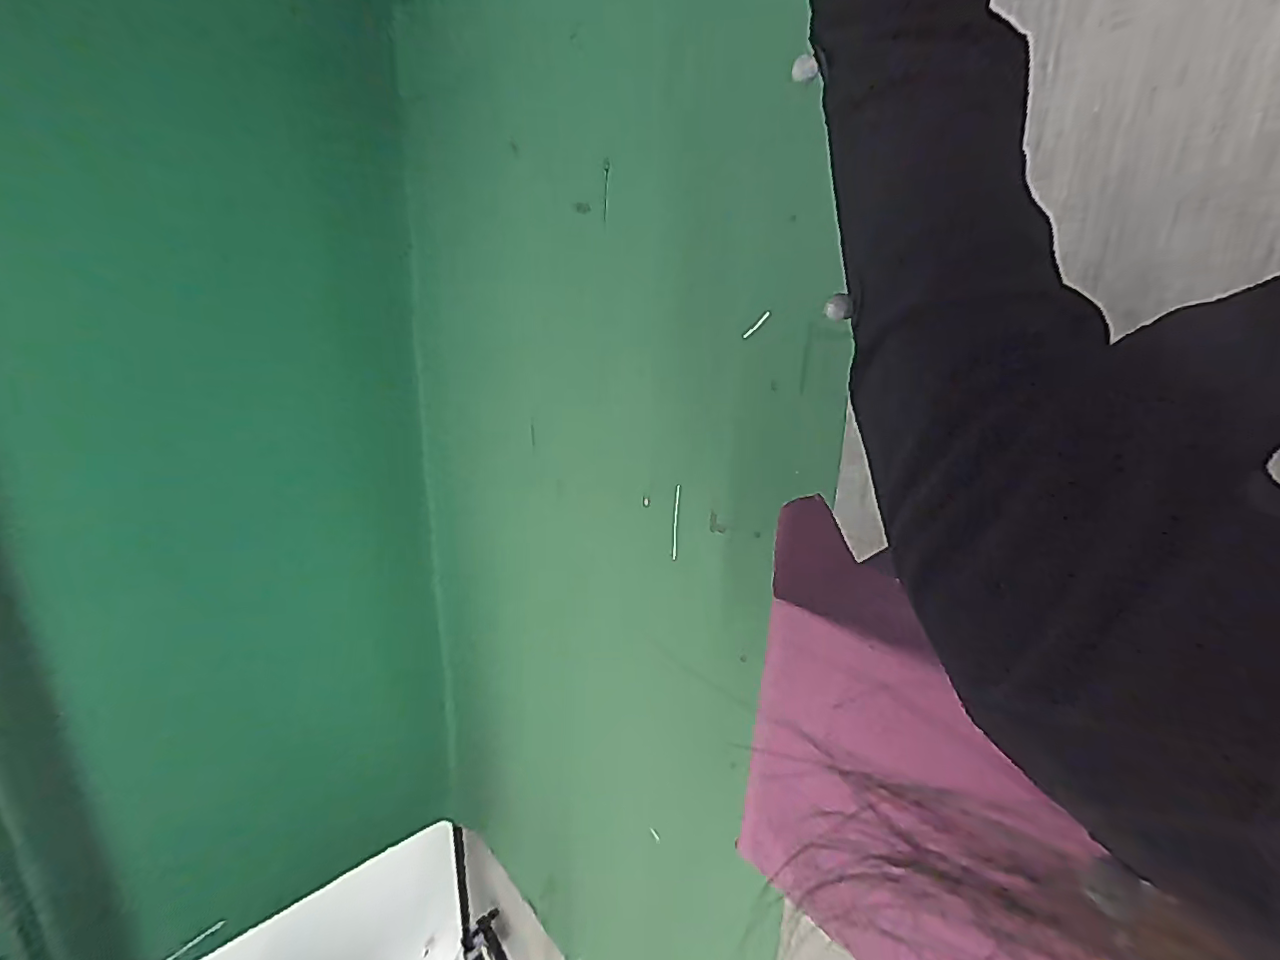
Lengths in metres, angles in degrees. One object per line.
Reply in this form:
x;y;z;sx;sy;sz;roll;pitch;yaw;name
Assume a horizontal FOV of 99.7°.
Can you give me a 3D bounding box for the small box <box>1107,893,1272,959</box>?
0.589;0.594;0.556;0.168;0.176;0.179;24;117;42;small box
